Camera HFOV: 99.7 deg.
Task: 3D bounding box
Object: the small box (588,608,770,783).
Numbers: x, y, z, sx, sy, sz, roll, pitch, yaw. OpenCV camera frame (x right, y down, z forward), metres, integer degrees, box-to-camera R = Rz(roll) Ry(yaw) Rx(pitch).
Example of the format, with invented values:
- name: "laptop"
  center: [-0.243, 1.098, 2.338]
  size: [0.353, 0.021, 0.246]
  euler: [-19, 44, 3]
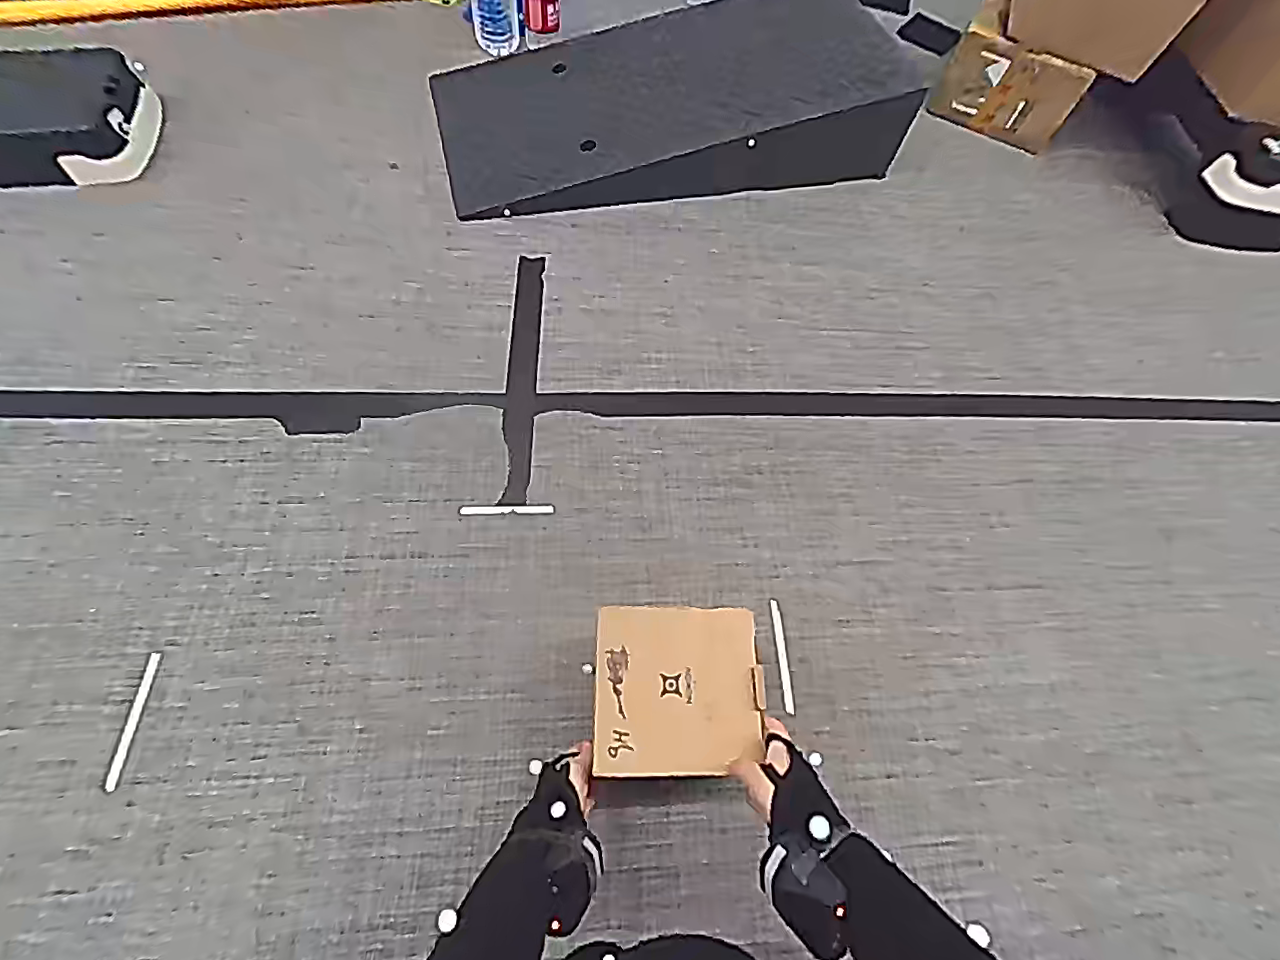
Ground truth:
- name: "small box"
  center: [0.034, 0.250, 0.625]
  size: [0.179, 0.176, 0.168]
  euler: [3, 63, -6]
